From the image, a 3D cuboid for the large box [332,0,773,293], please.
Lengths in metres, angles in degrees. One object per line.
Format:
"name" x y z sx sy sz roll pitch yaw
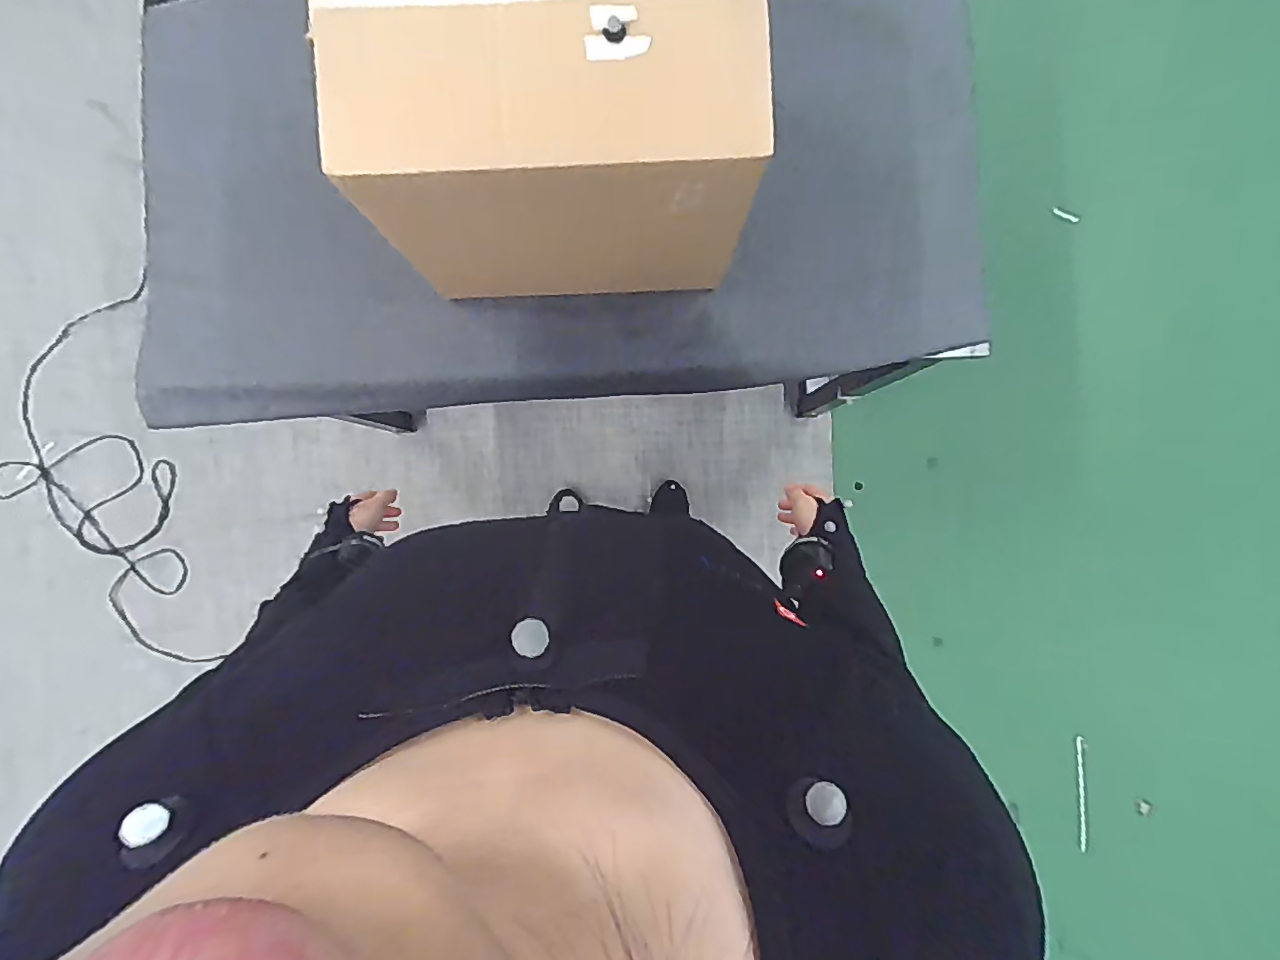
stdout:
"large box" -0.088 -0.438 0.646 0.408 0.320 0.320 -3 89 -1
